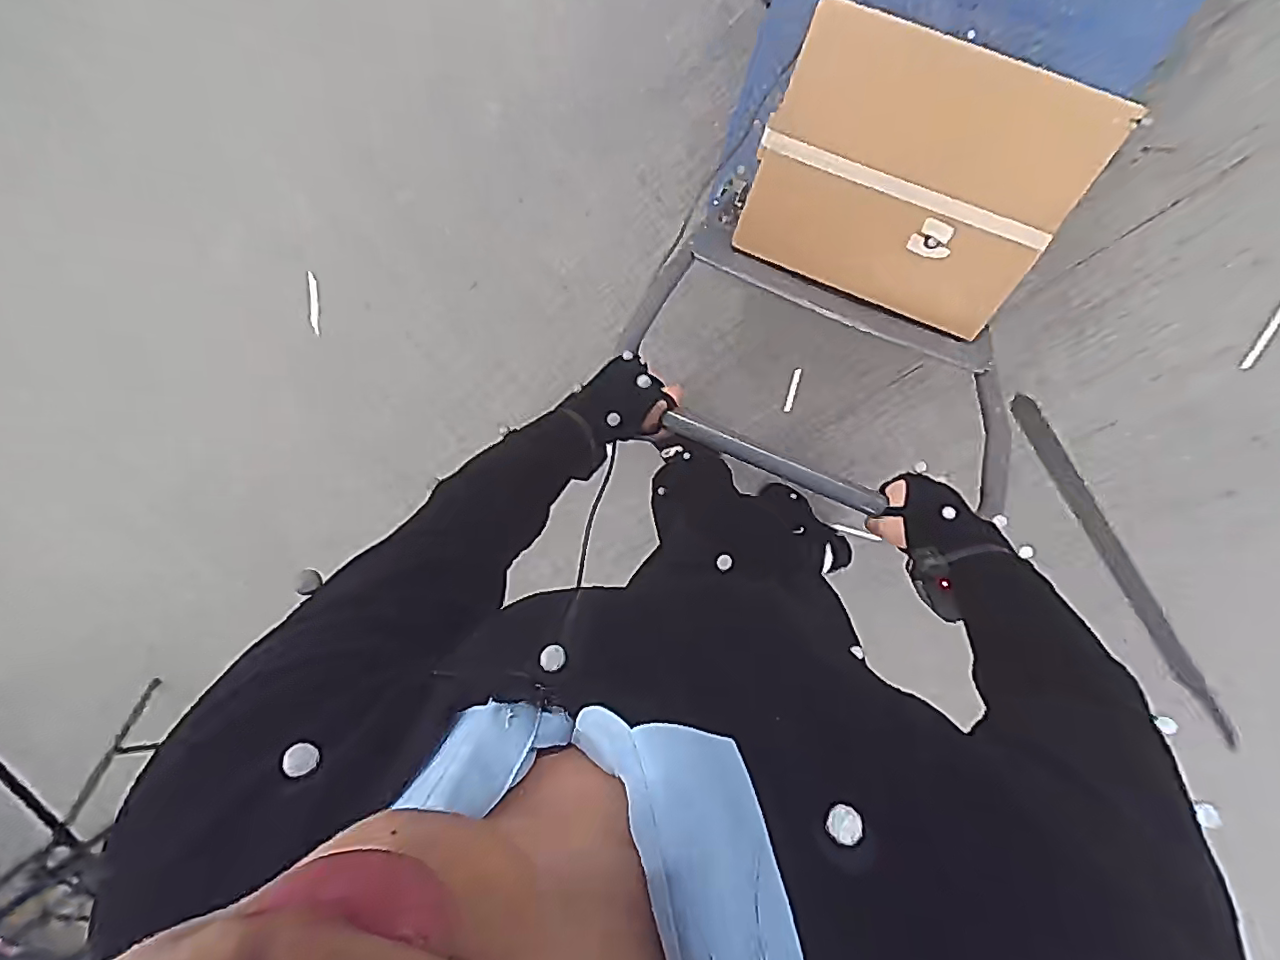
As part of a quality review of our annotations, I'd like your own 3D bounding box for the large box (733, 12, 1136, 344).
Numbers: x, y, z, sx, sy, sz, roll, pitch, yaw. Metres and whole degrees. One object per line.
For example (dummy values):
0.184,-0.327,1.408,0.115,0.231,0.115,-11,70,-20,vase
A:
0.407,-0.479,0.854,0.408,0.320,0.320,23,134,3,large box
